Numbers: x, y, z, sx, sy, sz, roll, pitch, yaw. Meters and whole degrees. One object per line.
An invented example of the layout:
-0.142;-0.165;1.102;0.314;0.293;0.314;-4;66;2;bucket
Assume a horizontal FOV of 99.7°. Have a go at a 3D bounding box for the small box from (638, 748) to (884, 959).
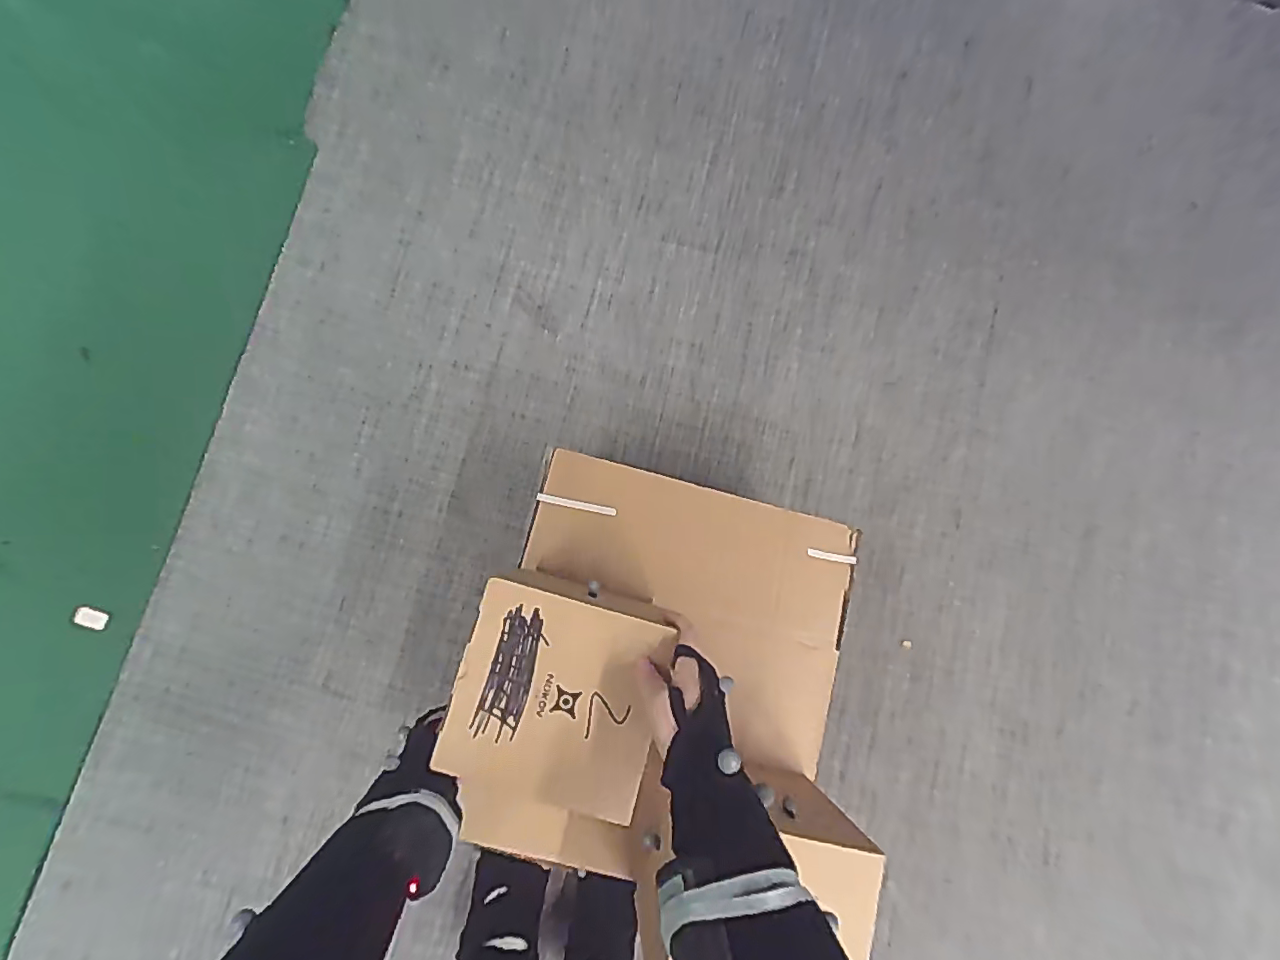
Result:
0.105;0.393;0.539;0.179;0.176;0.168;15;81;-2;small box
